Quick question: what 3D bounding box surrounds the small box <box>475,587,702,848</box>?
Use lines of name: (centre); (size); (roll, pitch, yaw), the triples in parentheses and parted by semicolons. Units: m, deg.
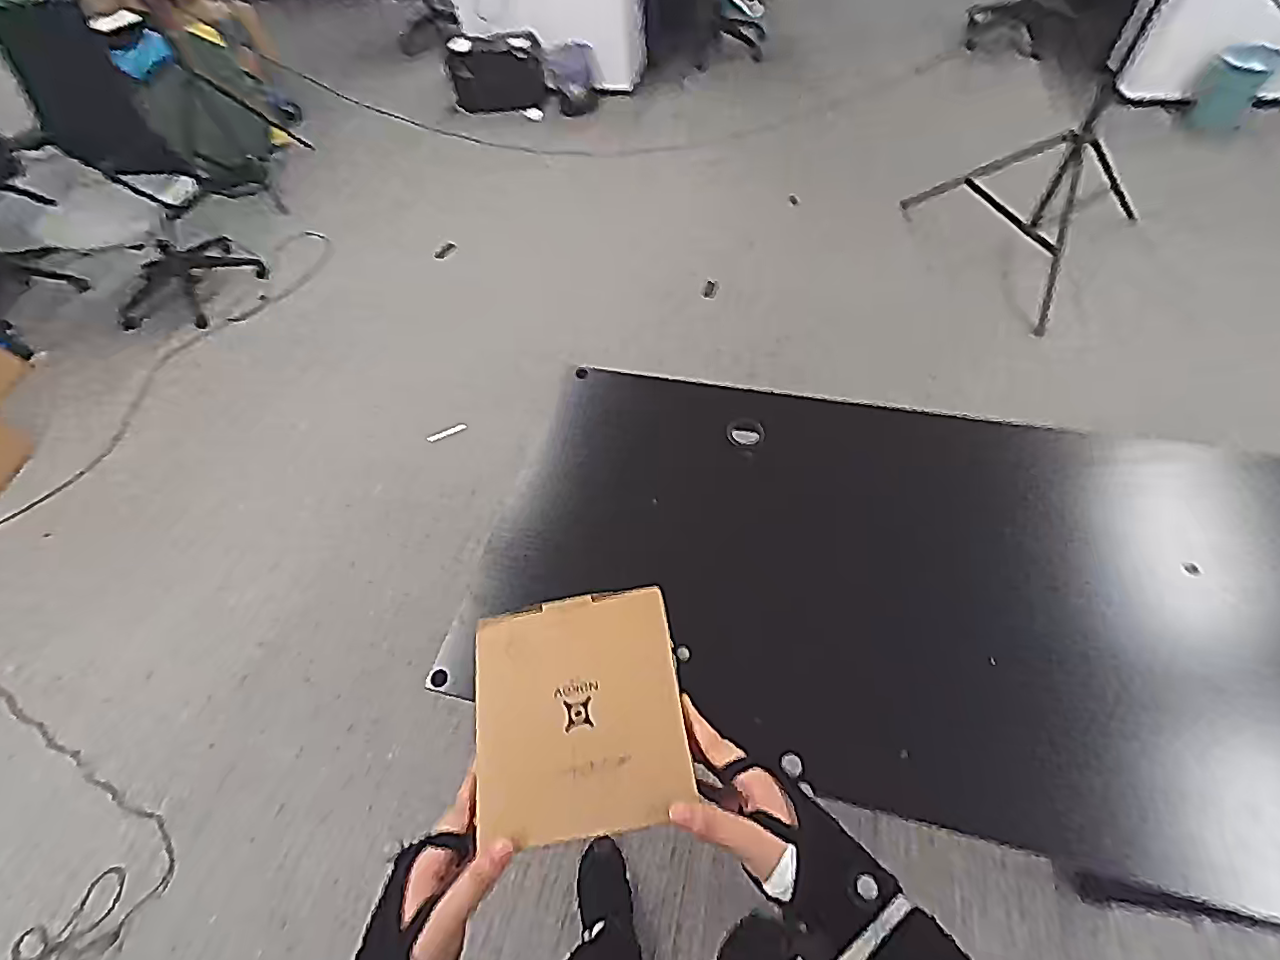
small box: (-0.041, 0.219, 0.496); (0.168, 0.176, 0.179); (-10, 59, 1)
